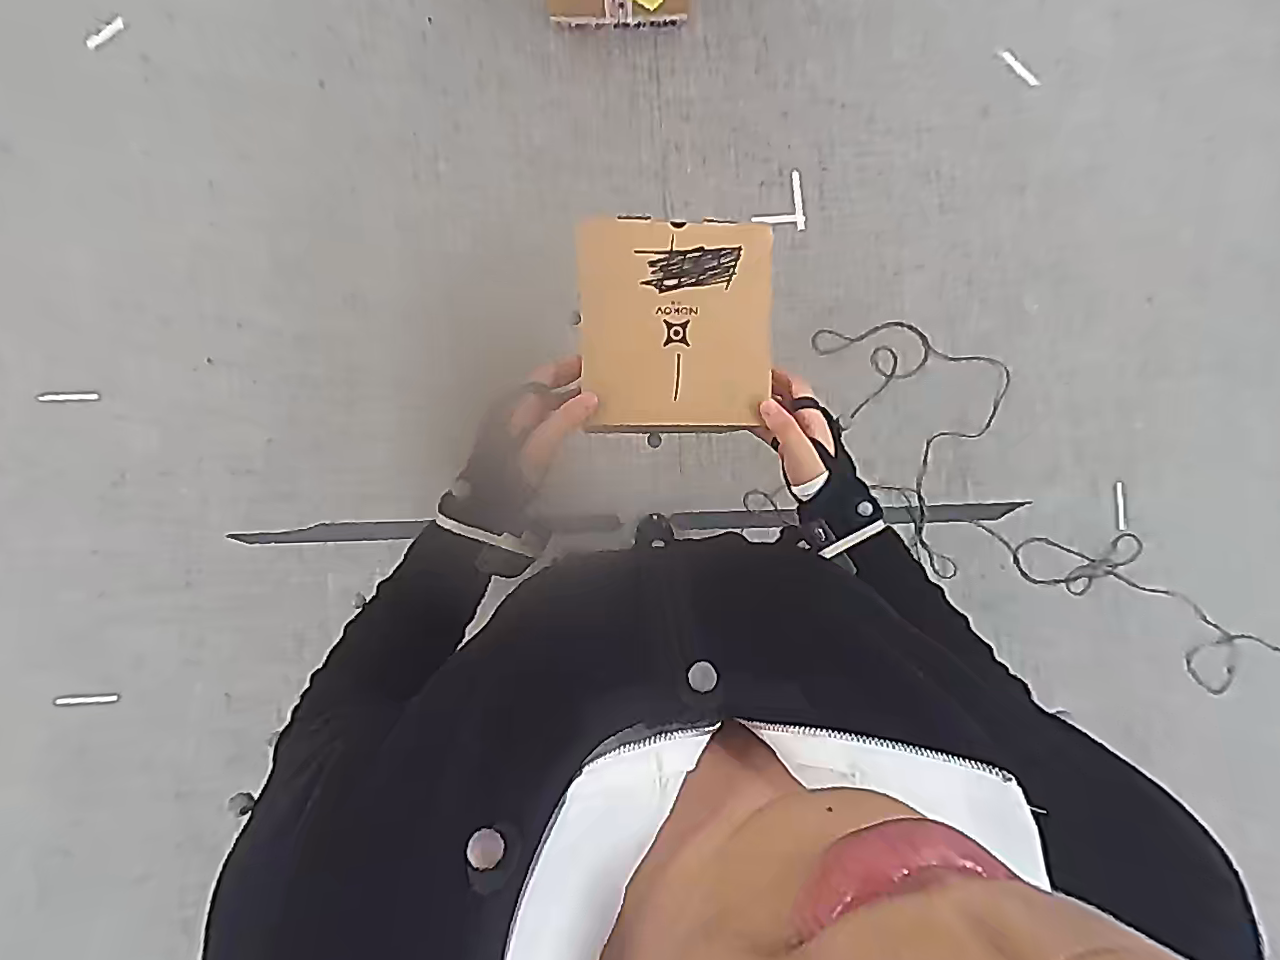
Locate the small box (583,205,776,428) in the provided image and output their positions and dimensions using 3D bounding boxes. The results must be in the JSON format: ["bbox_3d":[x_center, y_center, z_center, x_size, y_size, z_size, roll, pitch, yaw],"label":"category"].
[{"bbox_3d":[0.027,-0.146,0.541,0.168,0.176,0.179,0,93,-5],"label":"small box"}]
